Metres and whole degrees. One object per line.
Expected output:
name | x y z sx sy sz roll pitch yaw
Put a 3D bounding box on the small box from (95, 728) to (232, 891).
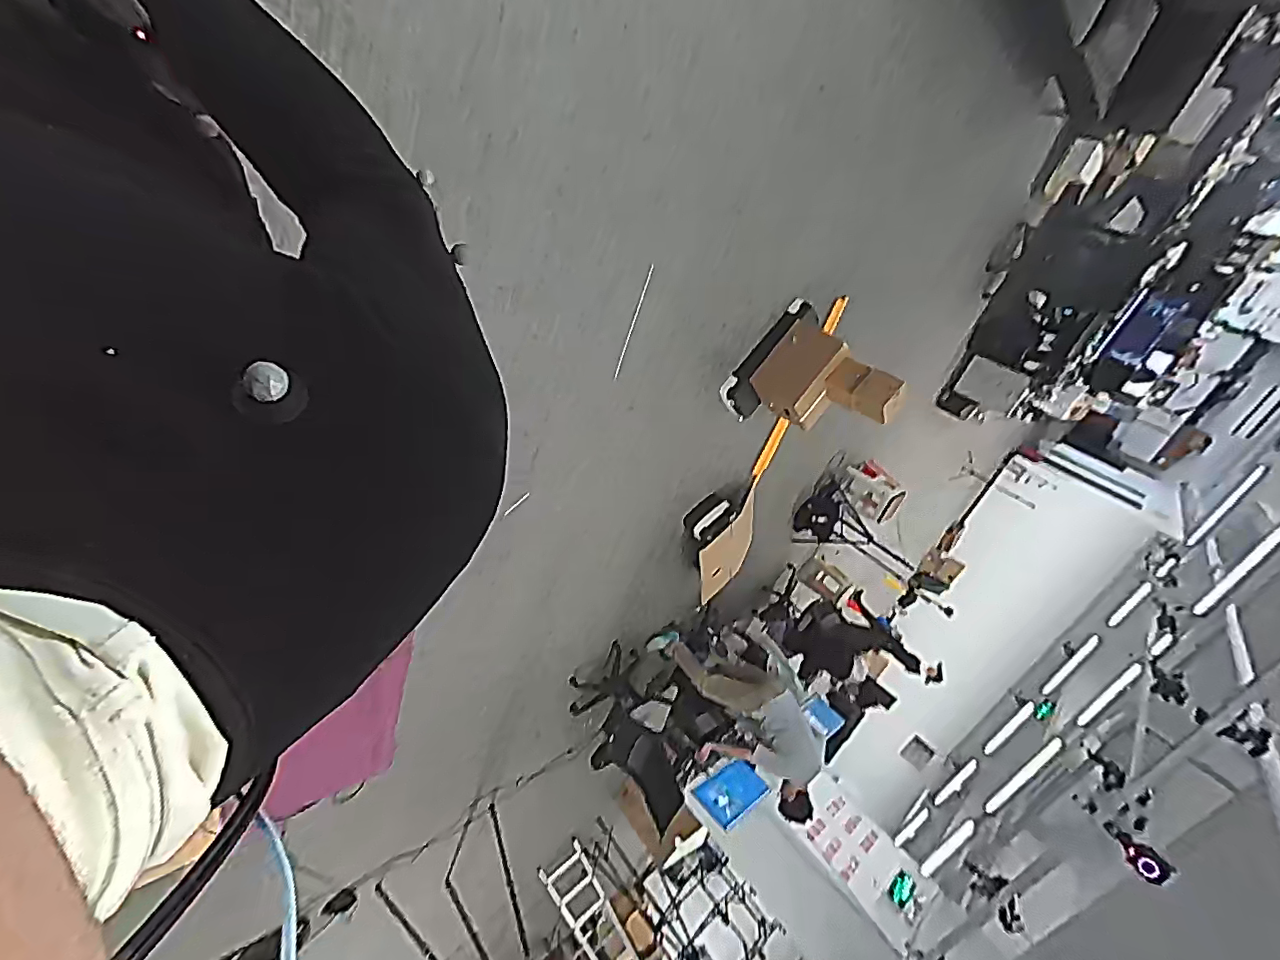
small box | -0.877 0.593 1.000 0.168 0.176 0.179 -11 132 -42
